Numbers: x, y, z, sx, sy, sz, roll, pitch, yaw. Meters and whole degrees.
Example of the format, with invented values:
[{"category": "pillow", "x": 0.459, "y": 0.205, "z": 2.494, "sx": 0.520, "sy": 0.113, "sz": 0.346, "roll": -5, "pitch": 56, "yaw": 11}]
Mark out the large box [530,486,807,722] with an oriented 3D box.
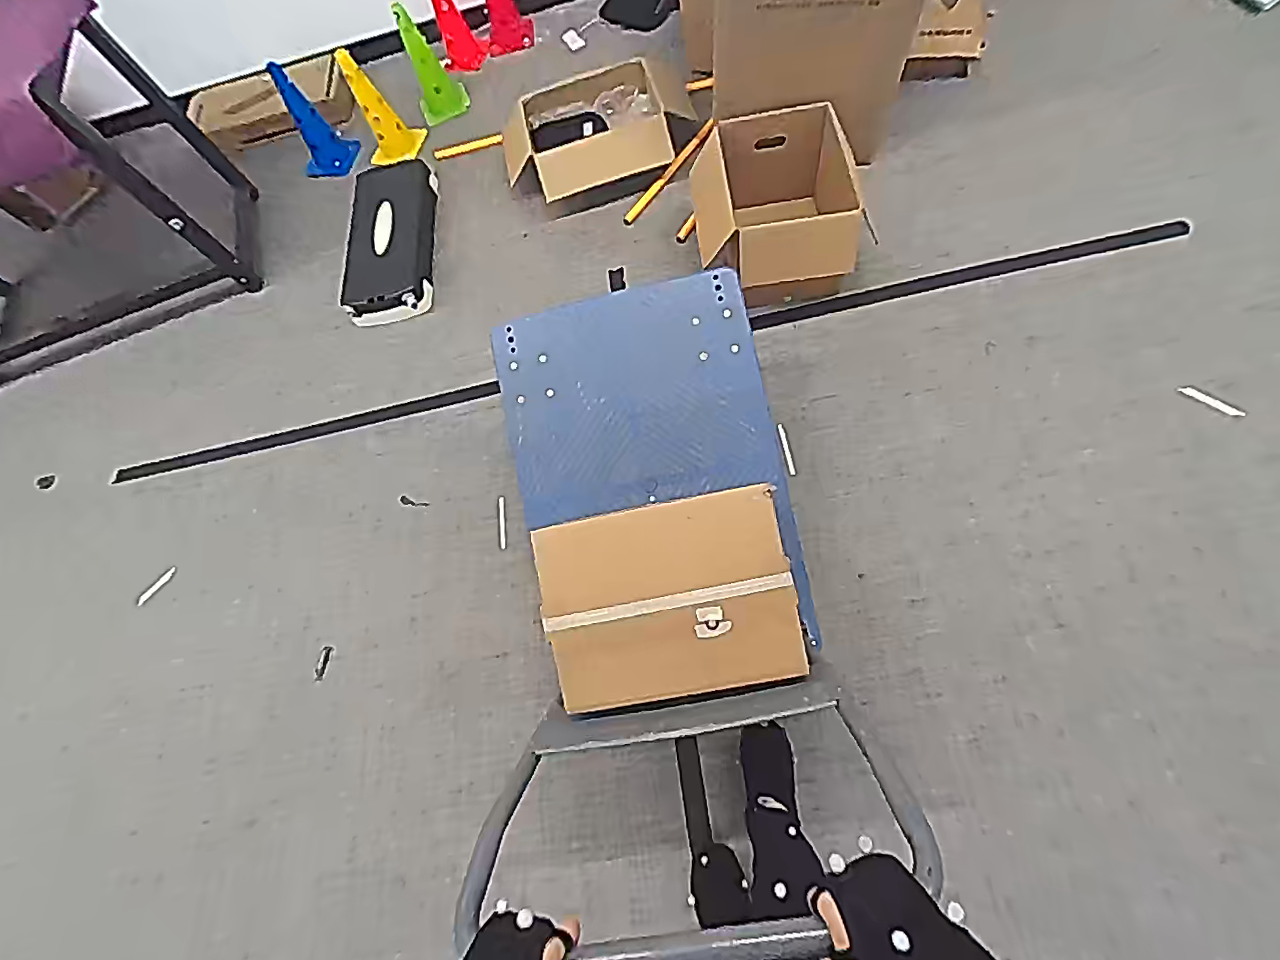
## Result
[{"category": "large box", "x": 0.052, "y": 0.207, "z": 1.019, "sx": 0.408, "sy": 0.320, "sz": 0.320, "roll": -12, "pitch": 88, "yaw": 5}]
